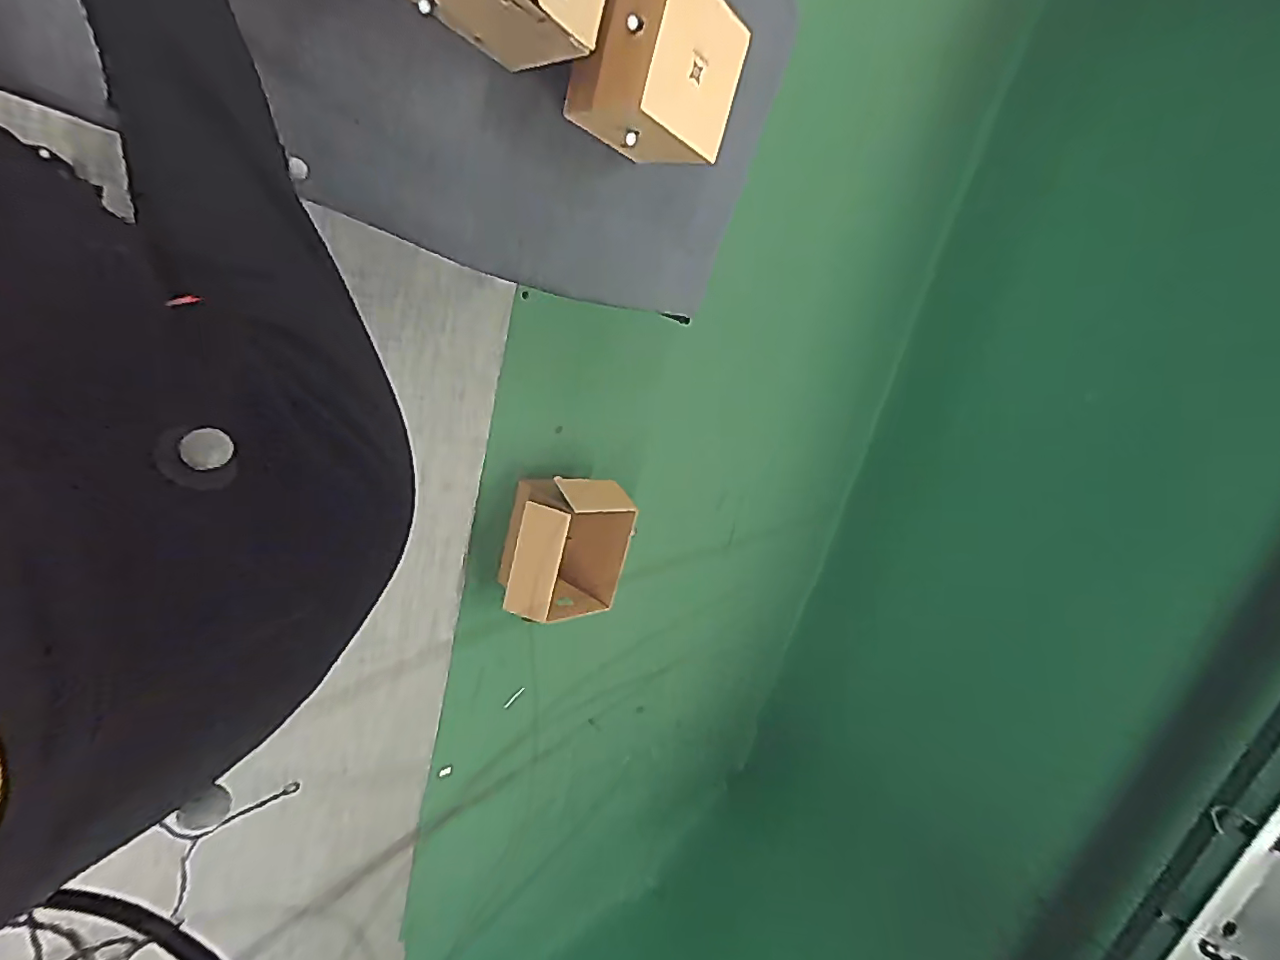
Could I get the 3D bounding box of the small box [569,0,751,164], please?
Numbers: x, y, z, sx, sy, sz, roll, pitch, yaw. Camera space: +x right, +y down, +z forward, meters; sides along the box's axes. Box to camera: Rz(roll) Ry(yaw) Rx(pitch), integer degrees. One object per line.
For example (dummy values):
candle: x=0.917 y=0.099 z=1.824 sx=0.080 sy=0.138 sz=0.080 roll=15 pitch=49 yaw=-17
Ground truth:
small box: x=0.022 y=-0.574 z=0.765 sx=0.168 sy=0.176 sz=0.179 roll=0 pitch=111 yaw=-48
